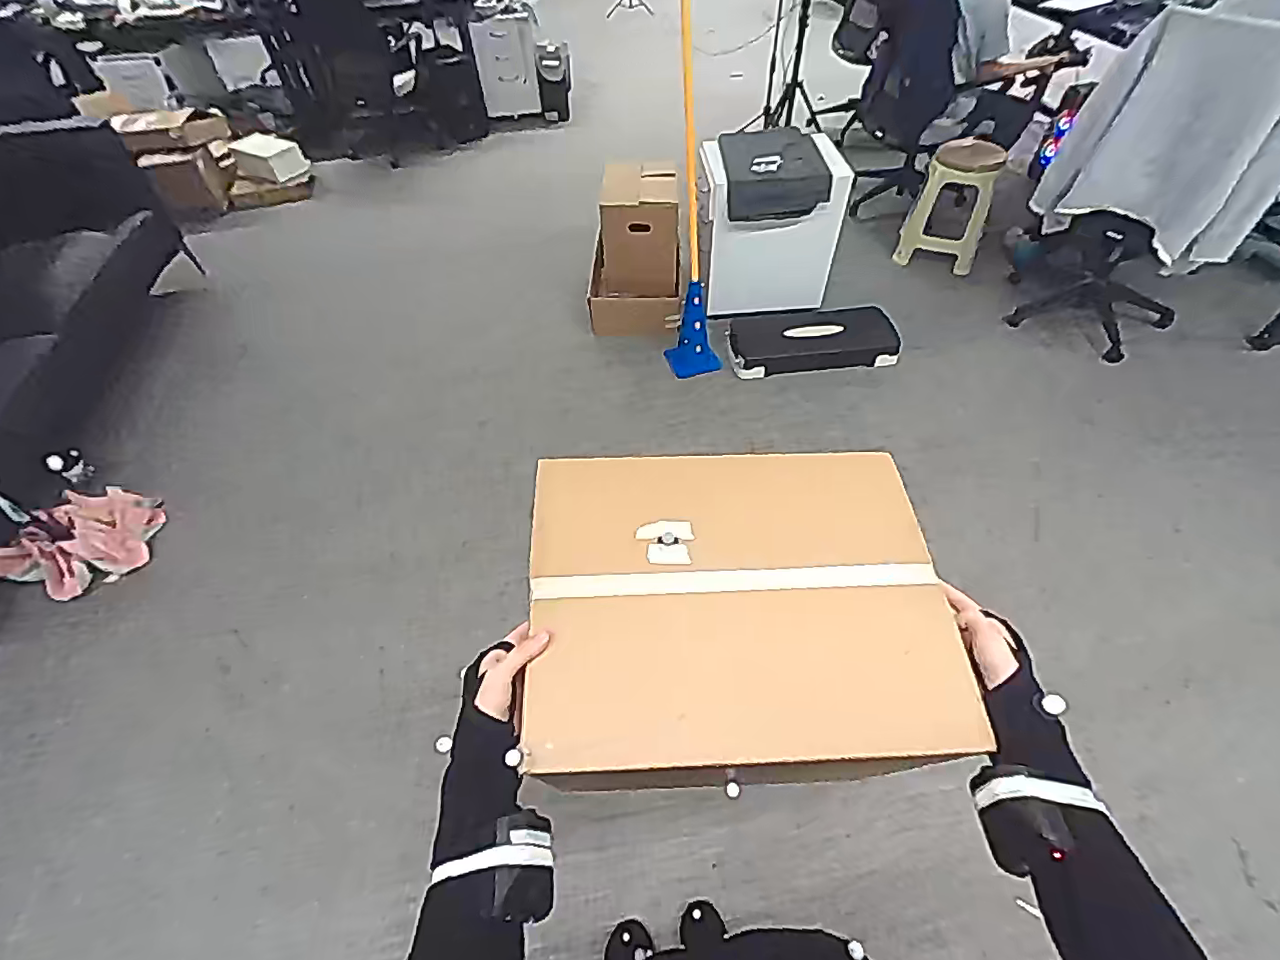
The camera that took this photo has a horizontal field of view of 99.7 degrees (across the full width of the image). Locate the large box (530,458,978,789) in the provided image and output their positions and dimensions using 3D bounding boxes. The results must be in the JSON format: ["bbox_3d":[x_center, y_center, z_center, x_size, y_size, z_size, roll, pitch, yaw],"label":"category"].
[{"bbox_3d":[0.095,0.192,0.673,0.408,0.320,0.320,-2,57,-2],"label":"large box"}]
